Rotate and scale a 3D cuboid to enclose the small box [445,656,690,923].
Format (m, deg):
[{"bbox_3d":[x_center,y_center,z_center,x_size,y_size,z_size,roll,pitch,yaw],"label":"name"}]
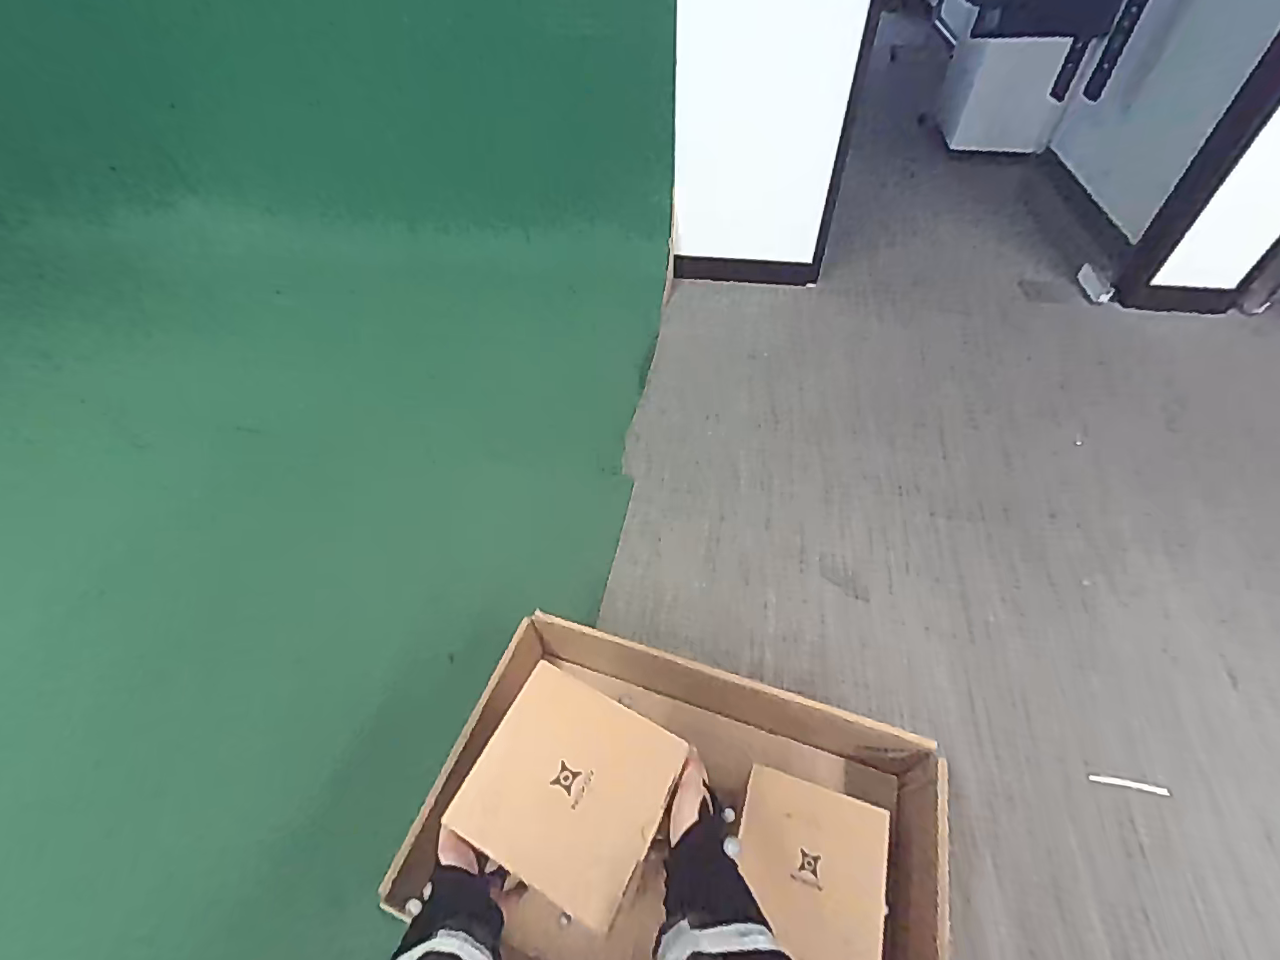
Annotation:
[{"bbox_3d":[-0.065,0.319,0.570,0.179,0.176,0.168,24,60,14],"label":"small box"}]
